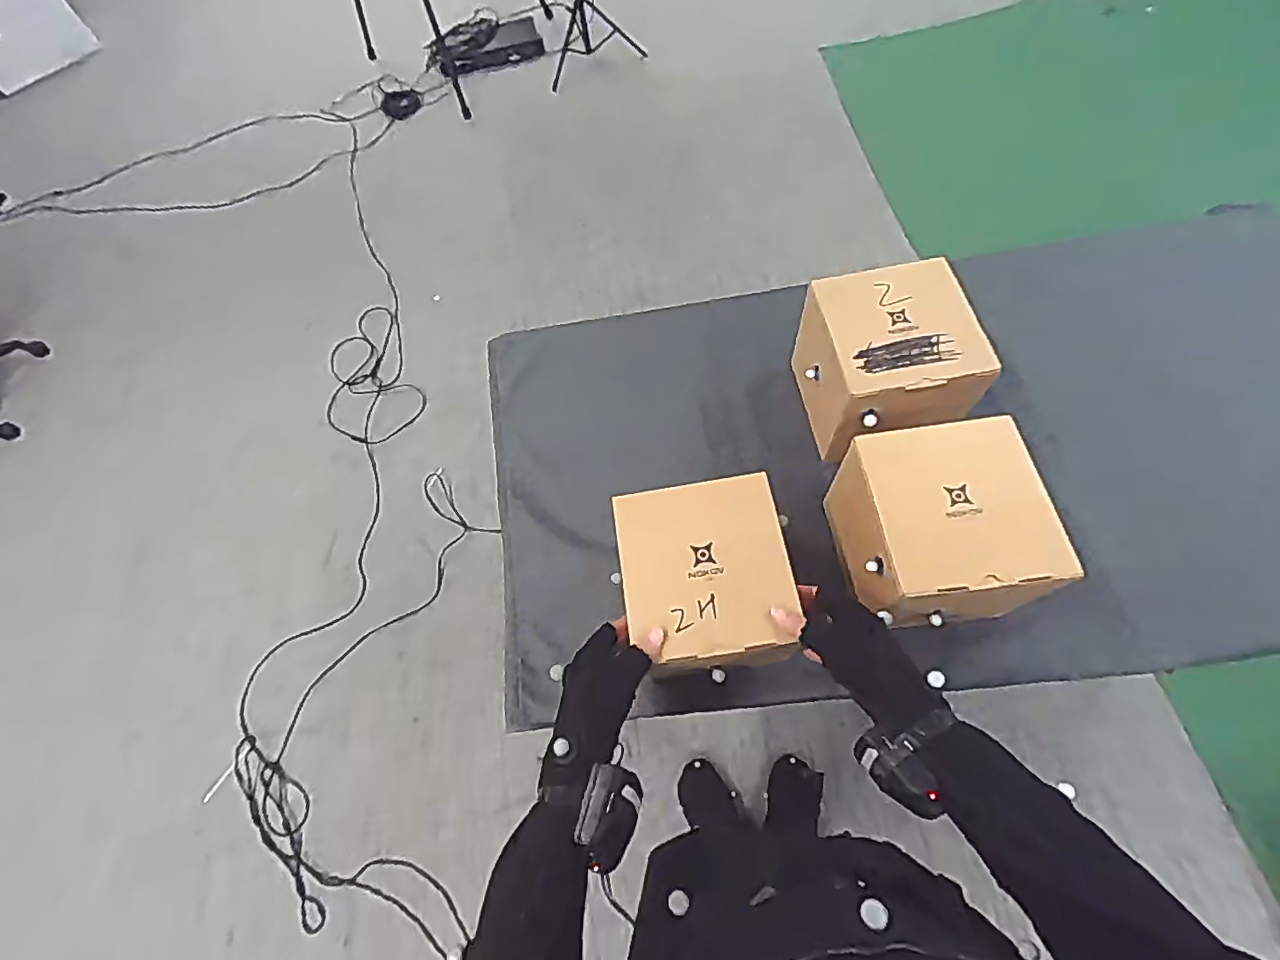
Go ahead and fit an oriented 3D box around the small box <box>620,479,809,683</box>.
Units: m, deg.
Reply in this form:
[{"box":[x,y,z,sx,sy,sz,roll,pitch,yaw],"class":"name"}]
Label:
[{"box":[0.075,0.121,0.611,0.168,0.176,0.179,-10,65,3],"class":"small box"}]
